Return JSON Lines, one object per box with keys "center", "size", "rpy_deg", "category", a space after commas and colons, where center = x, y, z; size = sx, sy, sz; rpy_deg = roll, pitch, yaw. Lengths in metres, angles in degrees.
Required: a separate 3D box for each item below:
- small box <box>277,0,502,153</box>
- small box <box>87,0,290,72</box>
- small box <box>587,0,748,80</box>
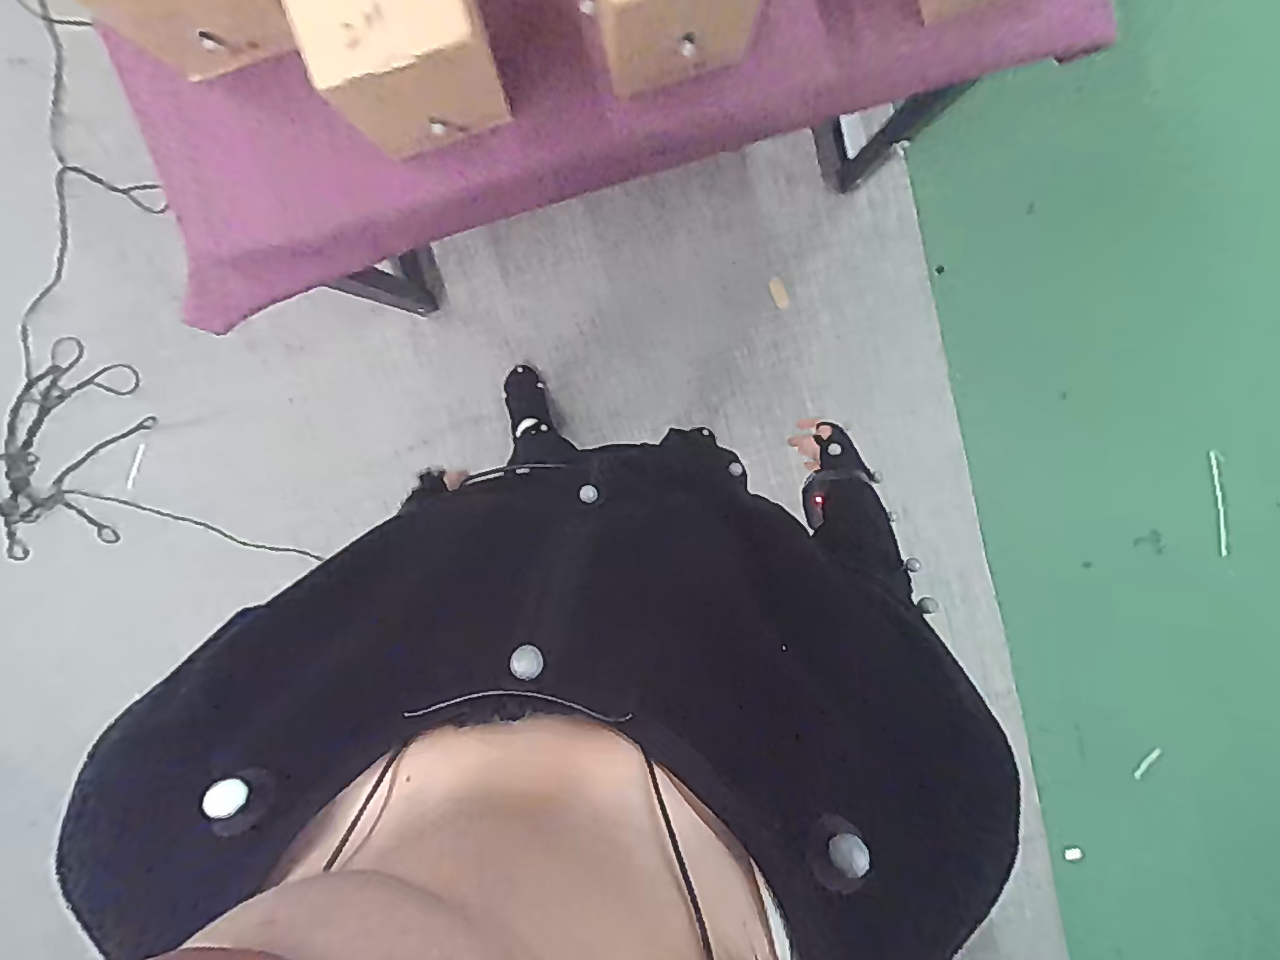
{"center": [-0.270, -0.500, 0.587], "size": [0.168, 0.176, 0.179], "rpy_deg": [-16, 99, 3], "category": "small box"}
{"center": [-0.515, -0.589, 0.572], "size": [0.168, 0.176, 0.179], "rpy_deg": [-17, 101, 2], "category": "small box"}
{"center": [0.021, -0.570, 0.576], "size": [0.168, 0.176, 0.179], "rpy_deg": [-16, 99, 2], "category": "small box"}
